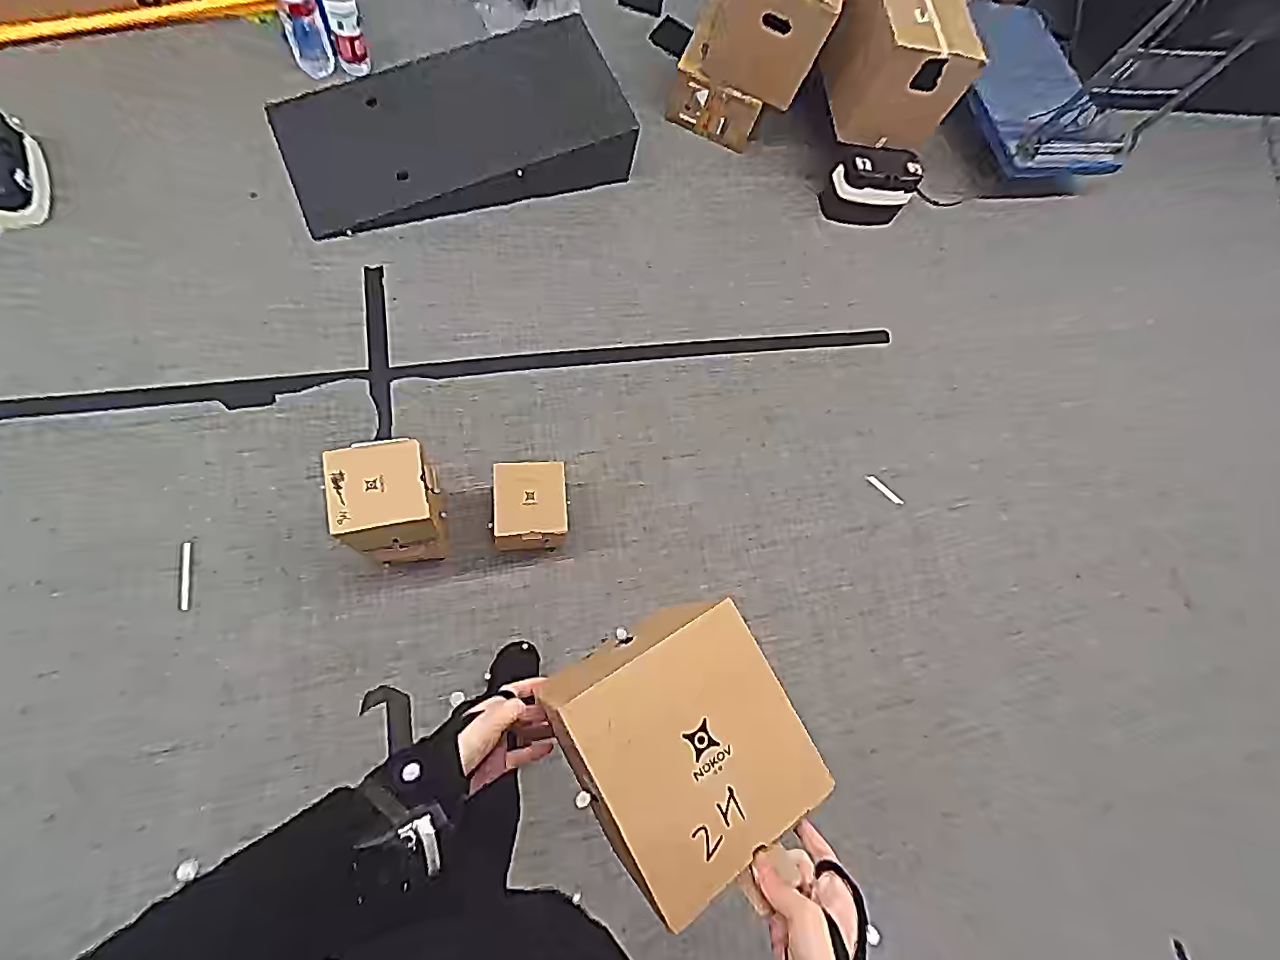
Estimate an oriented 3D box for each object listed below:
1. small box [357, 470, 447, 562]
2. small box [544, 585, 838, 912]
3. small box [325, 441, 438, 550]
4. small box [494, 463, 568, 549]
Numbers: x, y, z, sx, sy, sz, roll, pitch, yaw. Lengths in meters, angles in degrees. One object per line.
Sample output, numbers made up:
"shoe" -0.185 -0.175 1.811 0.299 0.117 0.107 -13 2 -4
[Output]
"small box" -0.539 0.088 1.239 0.168 0.176 0.179 -4 72 -15
"small box" 0.029 0.216 0.485 0.168 0.176 0.179 -26 84 -23
"small box" -0.508 0.035 1.086 0.179 0.176 0.168 -9 74 -17
"small box" -0.266 0.068 1.311 0.168 0.176 0.179 -1 72 -14
